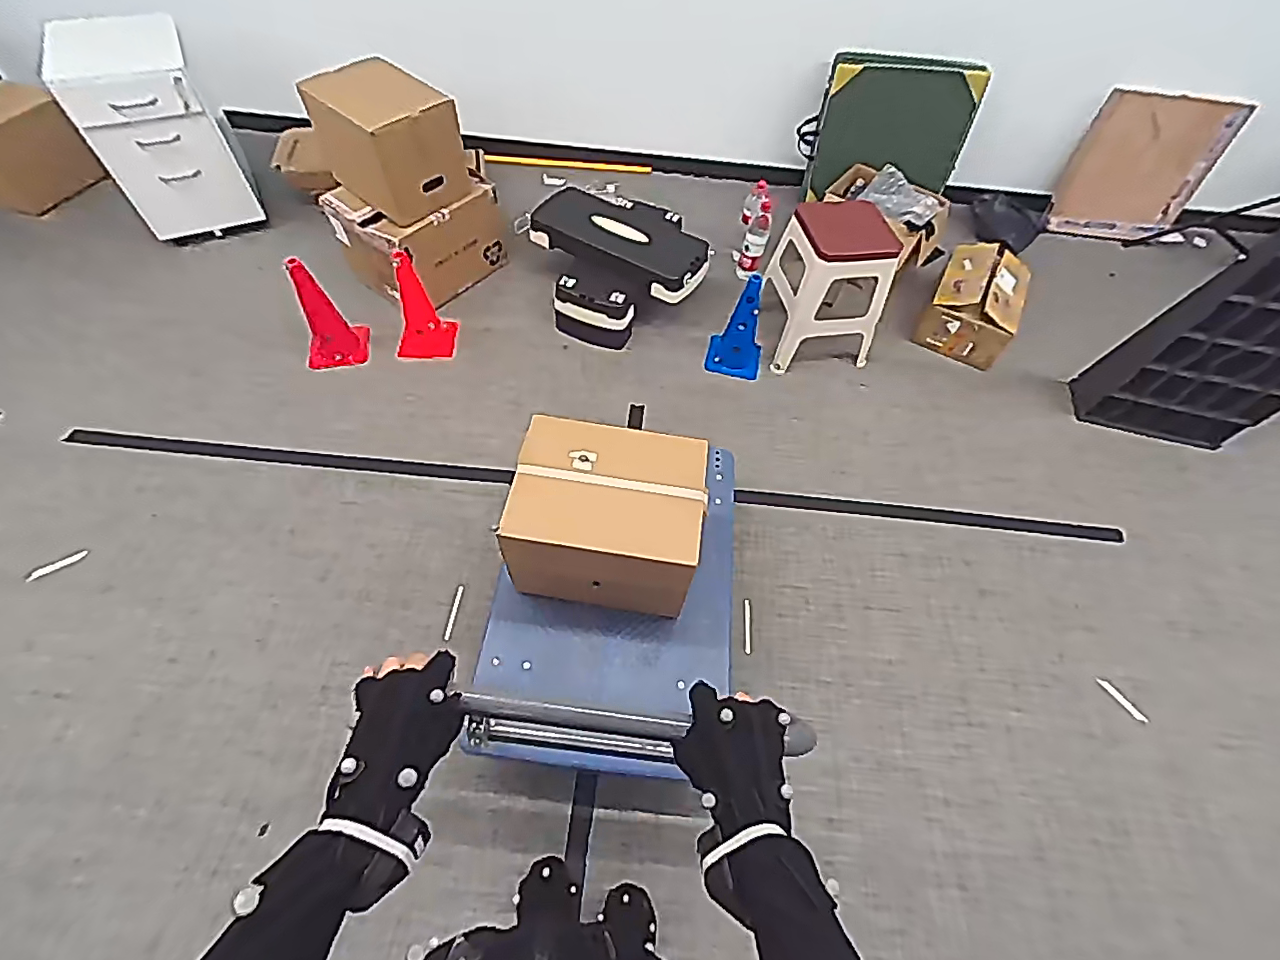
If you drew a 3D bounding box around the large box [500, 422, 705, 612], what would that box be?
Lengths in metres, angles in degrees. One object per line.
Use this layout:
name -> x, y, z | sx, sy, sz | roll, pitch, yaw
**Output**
large box -> -0.072, 0.099, 1.283 | 0.408, 0.320, 0.320 | 9, 57, 2
